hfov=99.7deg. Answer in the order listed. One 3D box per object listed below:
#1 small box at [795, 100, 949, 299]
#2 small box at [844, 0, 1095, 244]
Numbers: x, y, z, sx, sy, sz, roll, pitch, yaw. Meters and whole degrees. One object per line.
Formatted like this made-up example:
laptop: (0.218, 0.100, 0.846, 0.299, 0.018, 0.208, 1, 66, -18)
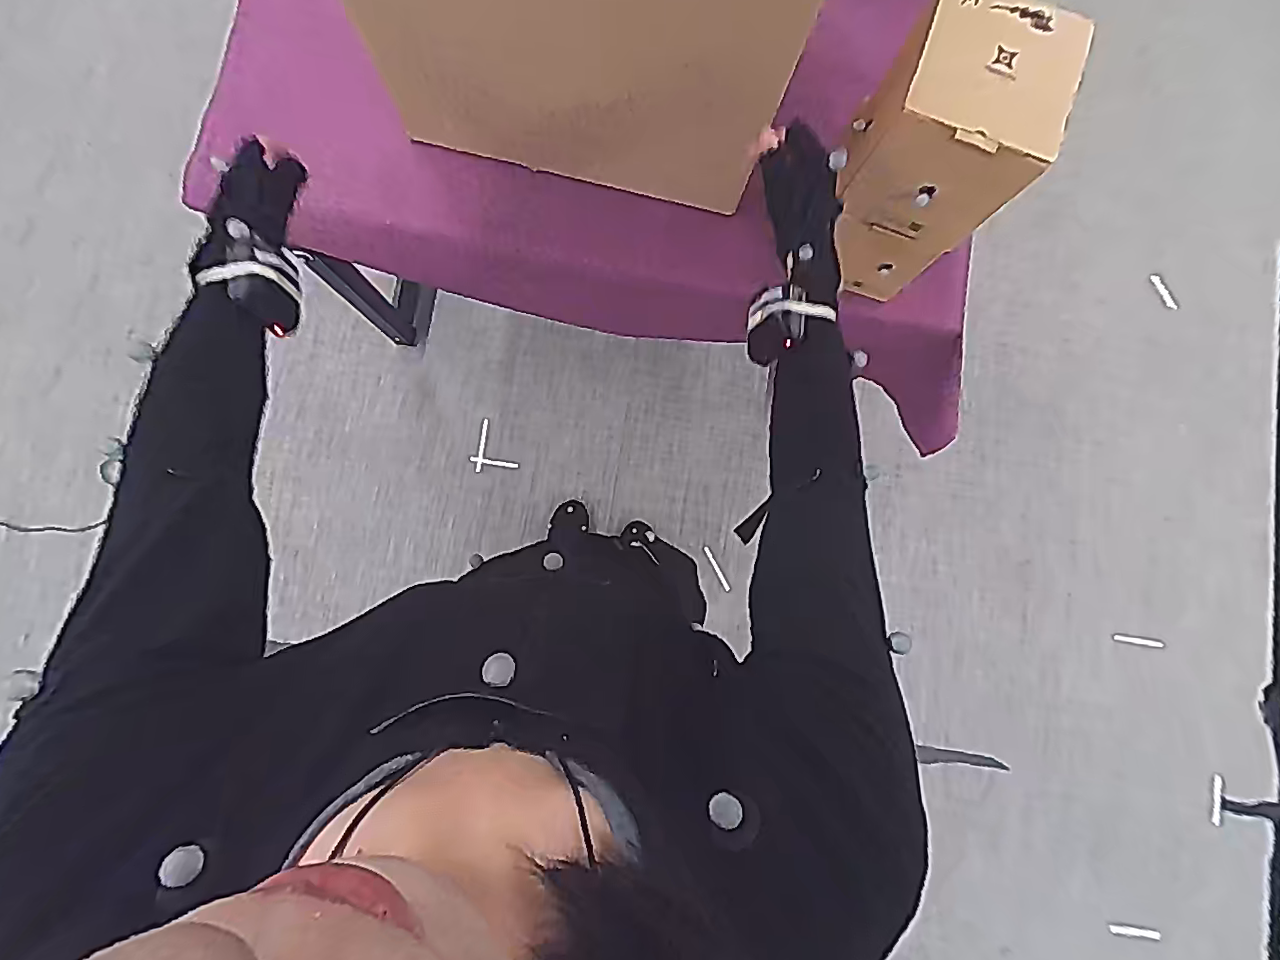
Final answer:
small box: (0.346, -0.397, 0.796, 0.168, 0.176, 0.179, 17, 82, -2)
small box: (0.364, -0.414, 0.633, 0.168, 0.176, 0.179, 21, 84, -2)
